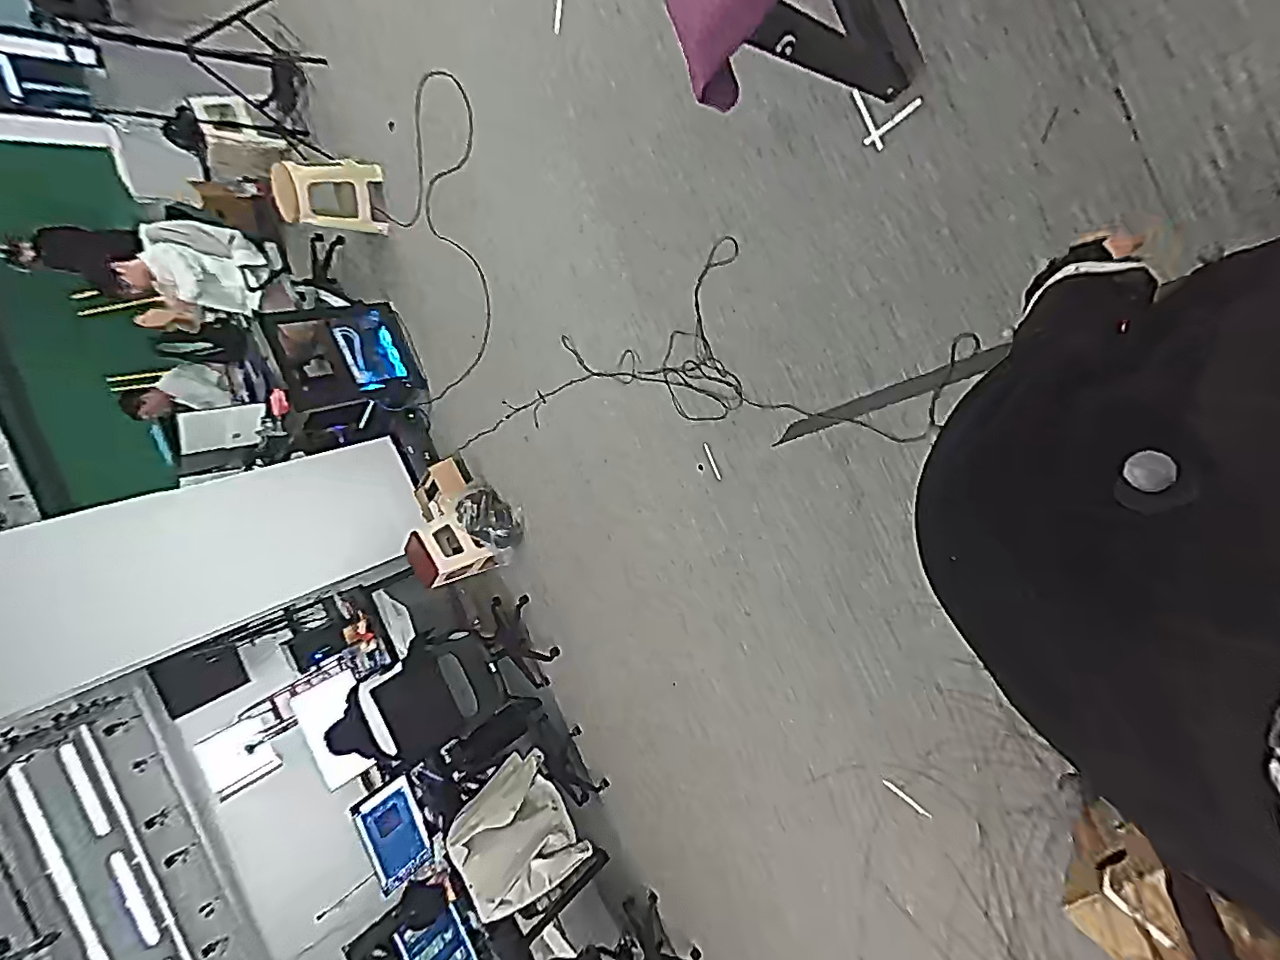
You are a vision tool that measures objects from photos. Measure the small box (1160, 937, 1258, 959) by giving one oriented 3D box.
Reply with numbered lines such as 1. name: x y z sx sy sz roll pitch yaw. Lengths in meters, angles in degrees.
1. small box: 1.106 1.001 0.998 0.168 0.176 0.179 39 132 27
